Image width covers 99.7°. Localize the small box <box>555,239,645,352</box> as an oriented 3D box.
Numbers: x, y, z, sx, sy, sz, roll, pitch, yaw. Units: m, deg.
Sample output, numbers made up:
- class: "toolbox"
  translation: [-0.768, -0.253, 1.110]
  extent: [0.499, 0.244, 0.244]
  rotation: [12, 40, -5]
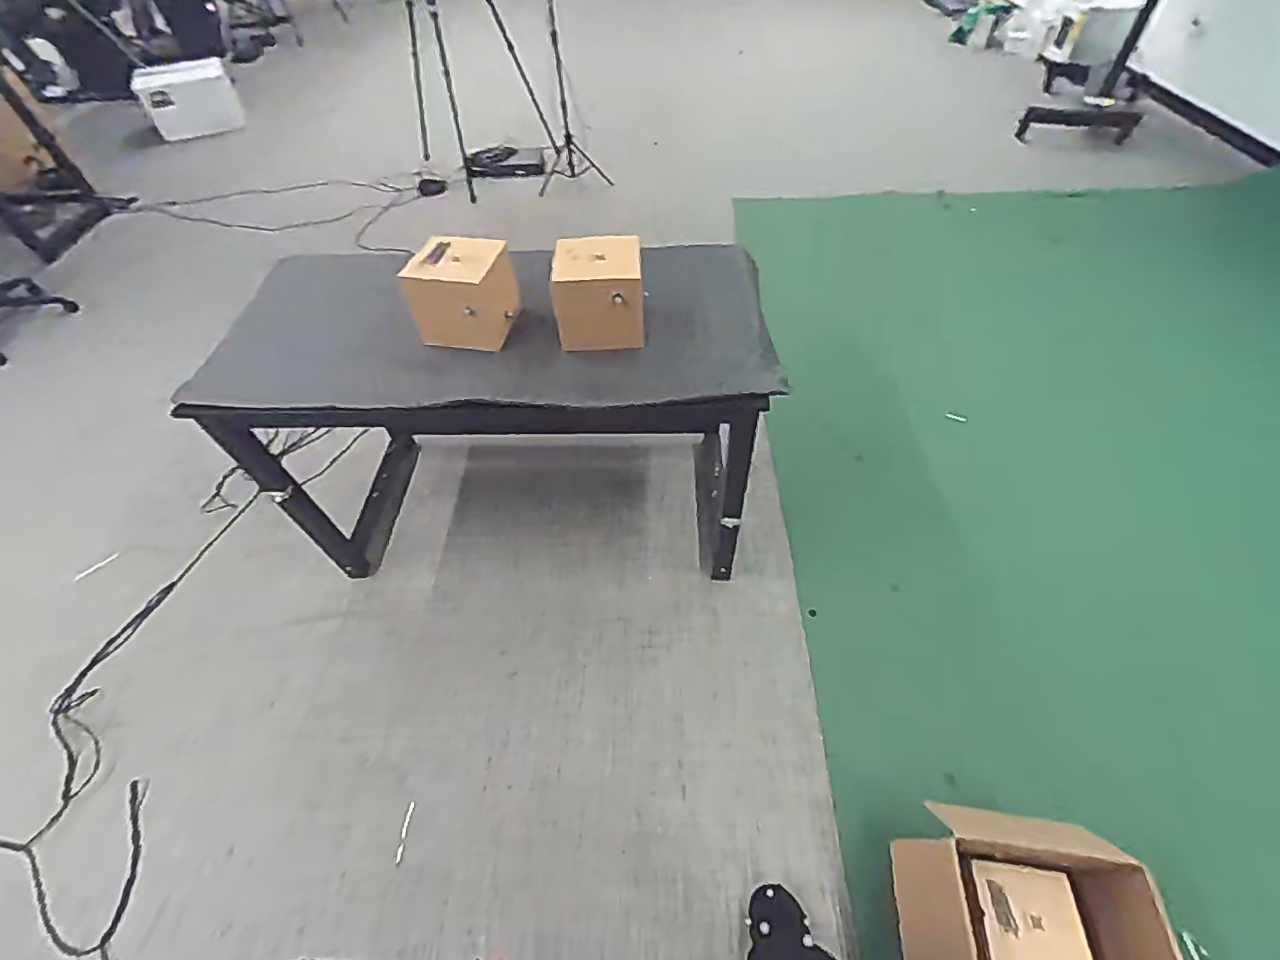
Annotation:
- class: "small box"
  translation: [-0.077, -0.390, 1.151]
  extent: [0.179, 0.176, 0.168]
  rotation: [-2, 51, 1]
